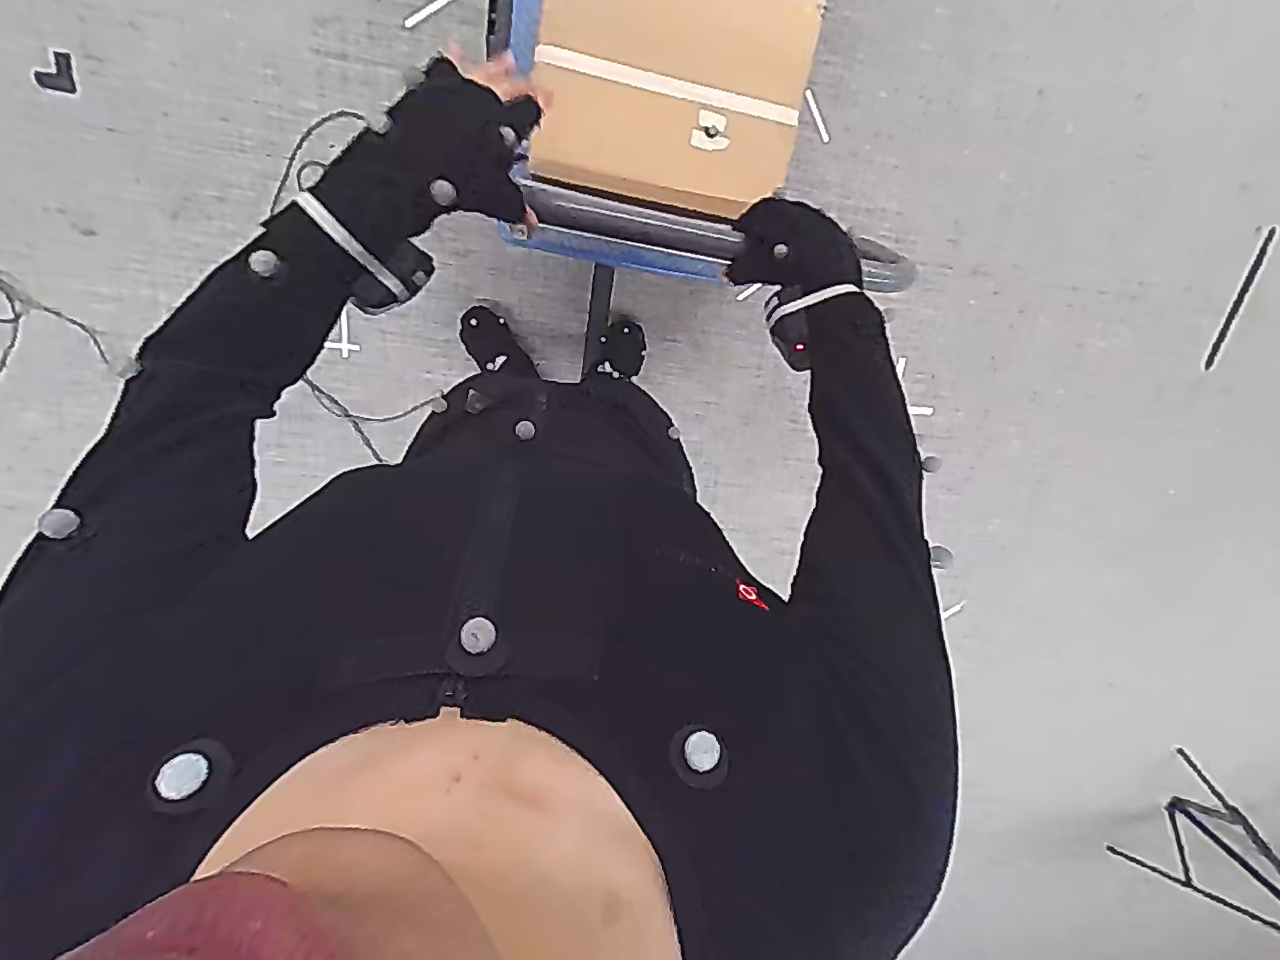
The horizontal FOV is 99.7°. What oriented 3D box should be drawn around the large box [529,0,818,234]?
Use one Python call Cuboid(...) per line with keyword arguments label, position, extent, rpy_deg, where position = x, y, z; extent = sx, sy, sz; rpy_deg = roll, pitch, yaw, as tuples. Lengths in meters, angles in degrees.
Cuboid(label="large box", position=(0.024, -0.636, 0.944), extent=(0.408, 0.320, 0.320), rpy_deg=(6, 111, -11))
